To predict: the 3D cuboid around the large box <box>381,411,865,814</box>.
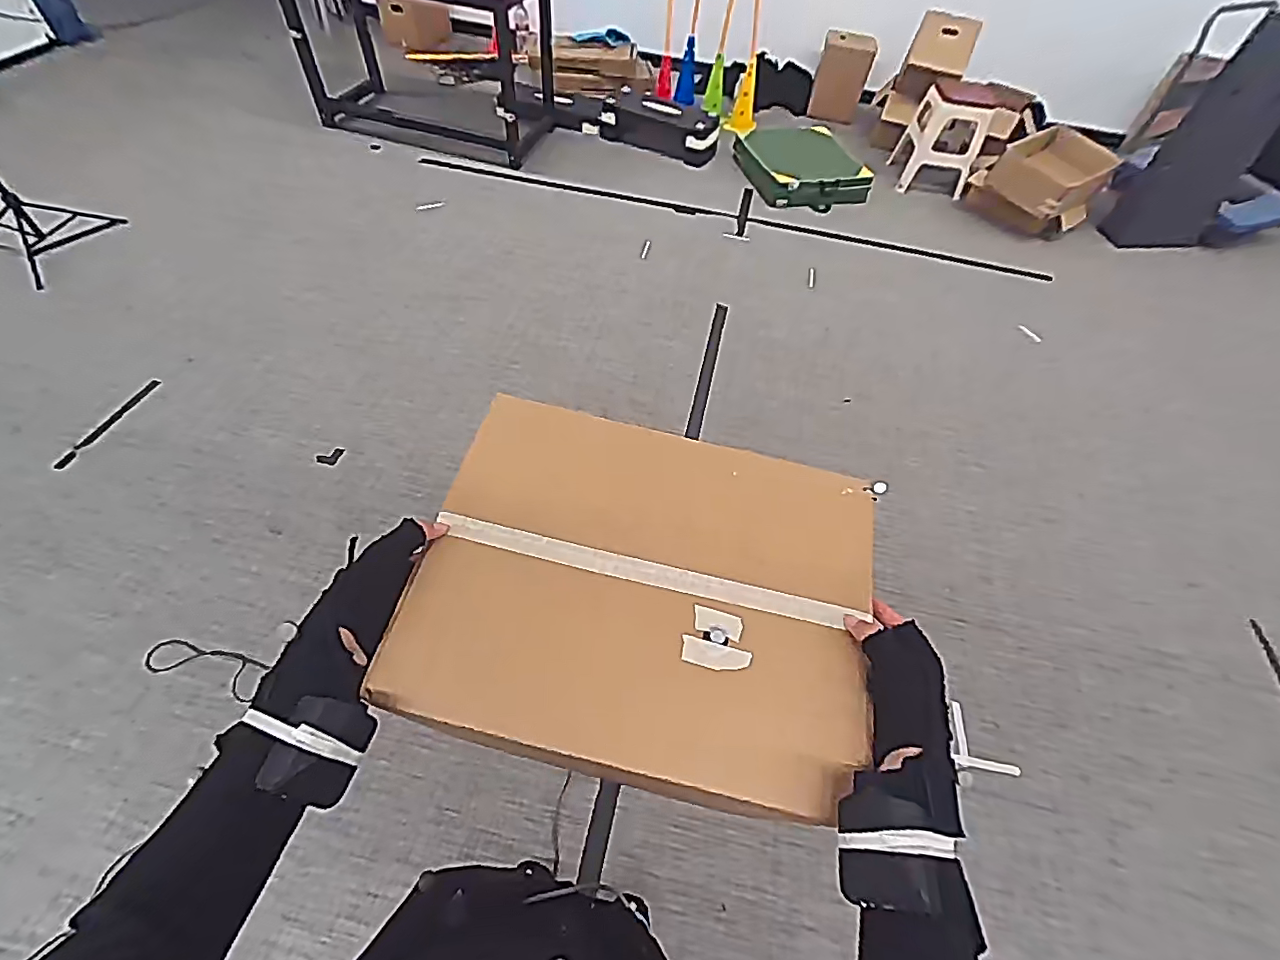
[{"bbox_3d":[-0.003,0.168,0.630,0.408,0.320,0.320,14,60,1],"label":"large box"}]
